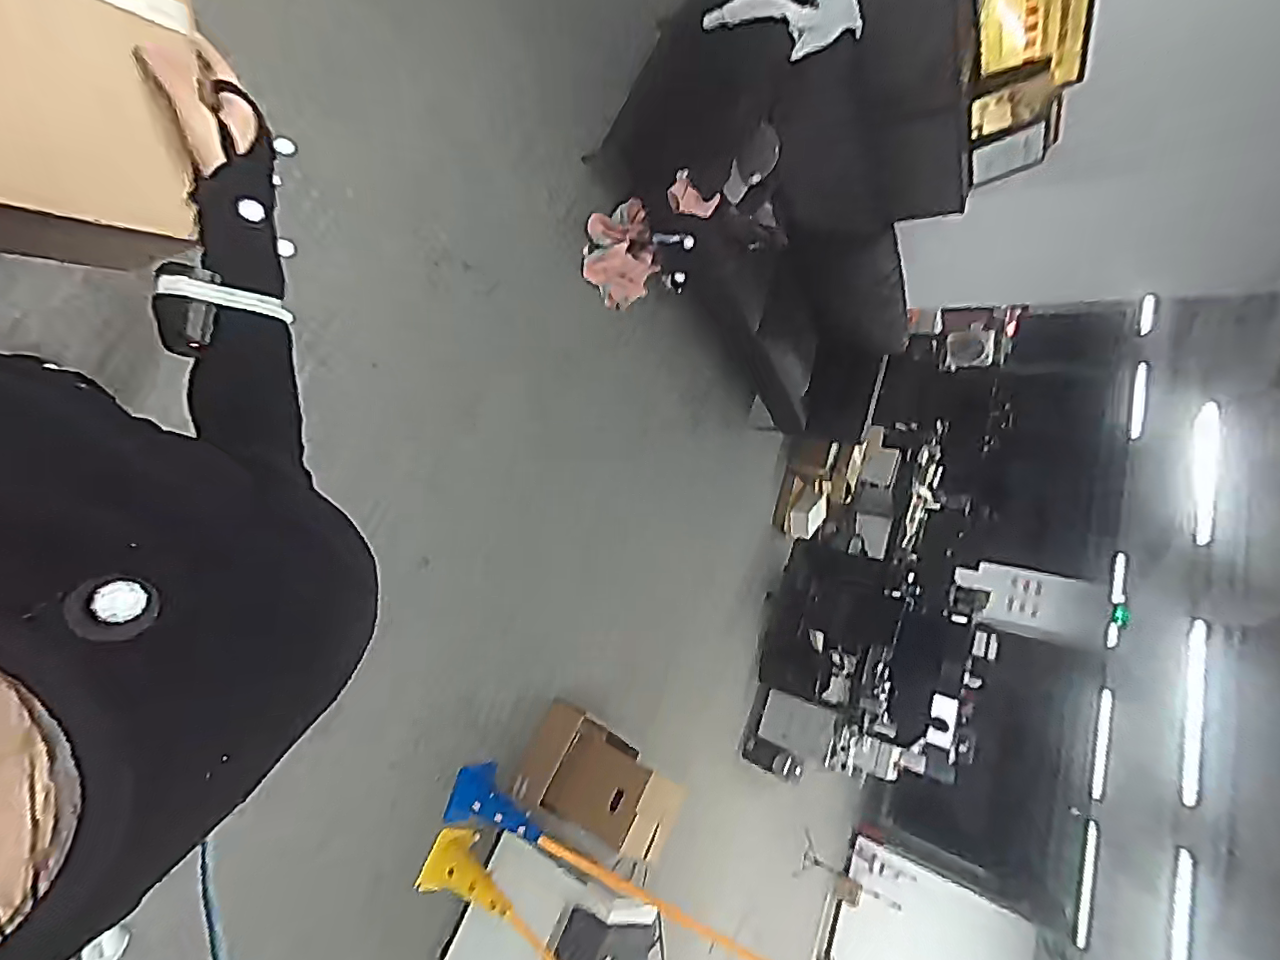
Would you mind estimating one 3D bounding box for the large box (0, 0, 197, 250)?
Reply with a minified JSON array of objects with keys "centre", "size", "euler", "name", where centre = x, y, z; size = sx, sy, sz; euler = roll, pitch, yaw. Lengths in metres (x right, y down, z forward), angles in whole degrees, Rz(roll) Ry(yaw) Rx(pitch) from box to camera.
[{"centre":[-0.601,-0.357,0.358],"size":[0.408,0.320,0.320],"euler":[-12,108,-50],"name":"large box"}]
